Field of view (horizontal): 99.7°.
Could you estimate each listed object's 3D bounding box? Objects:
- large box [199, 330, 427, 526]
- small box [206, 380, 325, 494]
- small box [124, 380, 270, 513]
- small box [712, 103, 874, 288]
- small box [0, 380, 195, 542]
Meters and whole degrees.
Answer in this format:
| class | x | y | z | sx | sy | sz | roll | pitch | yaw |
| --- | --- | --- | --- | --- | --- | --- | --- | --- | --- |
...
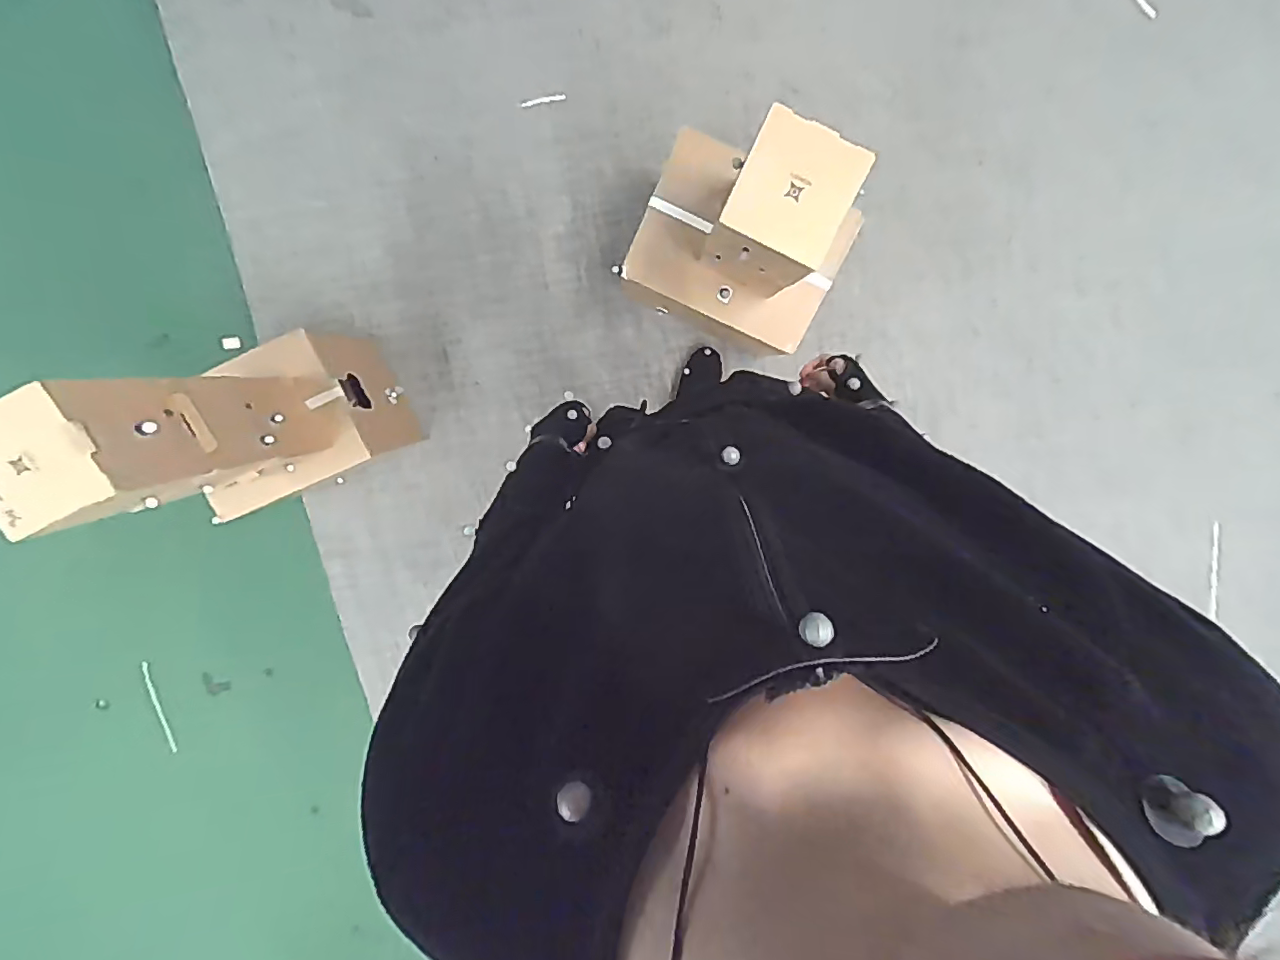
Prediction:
| class | x | y | z | sx | sy | sz | roll | pitch | yaw |
| --- | --- | --- | --- | --- | --- | --- | --- | --- | --- |
| large box | -0.825 | -0.137 | 1.338 | 0.408 | 0.320 | 0.320 | -23 | 98 | 7 |
| small box | -0.787 | -0.095 | 1.096 | 0.168 | 0.176 | 0.179 | -22 | 100 | 5 |
| small box | -0.789 | -0.067 | 0.935 | 0.179 | 0.176 | 0.168 | -23 | 100 | 6 |
| small box | 0.222 | -0.423 | 0.842 | 0.168 | 0.176 | 0.179 | 25 | 99 | -3 |
| small box | -0.795 | -0.037 | 0.773 | 0.179 | 0.176 | 0.168 | -23 | 99 | 4 |
